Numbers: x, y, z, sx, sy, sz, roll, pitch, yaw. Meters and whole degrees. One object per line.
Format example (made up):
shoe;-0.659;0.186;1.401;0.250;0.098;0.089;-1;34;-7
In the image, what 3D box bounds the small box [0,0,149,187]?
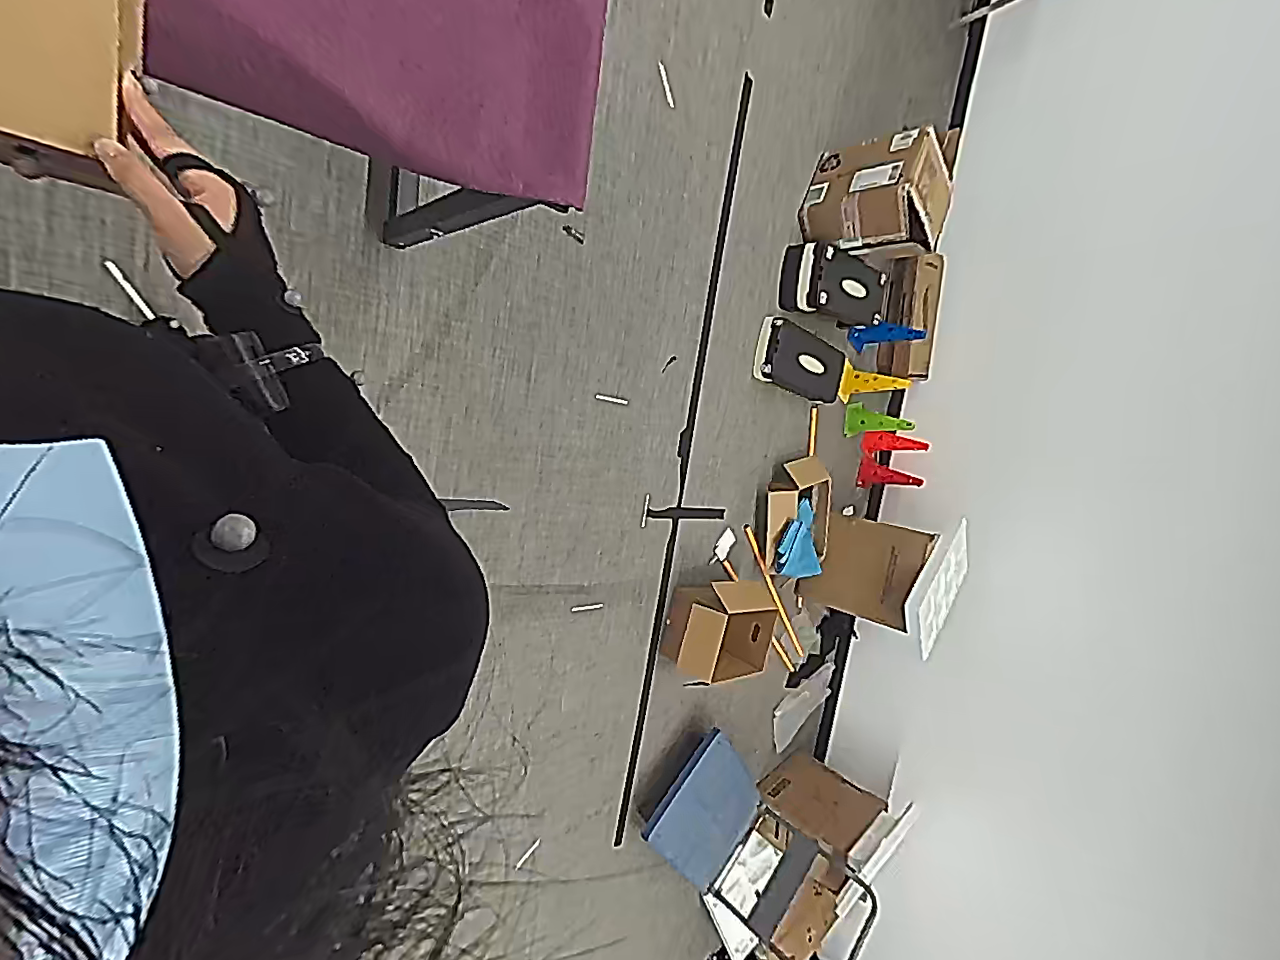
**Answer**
small box;-0.441;-0.310;0.350;0.179;0.176;0.168;3;103;-40
